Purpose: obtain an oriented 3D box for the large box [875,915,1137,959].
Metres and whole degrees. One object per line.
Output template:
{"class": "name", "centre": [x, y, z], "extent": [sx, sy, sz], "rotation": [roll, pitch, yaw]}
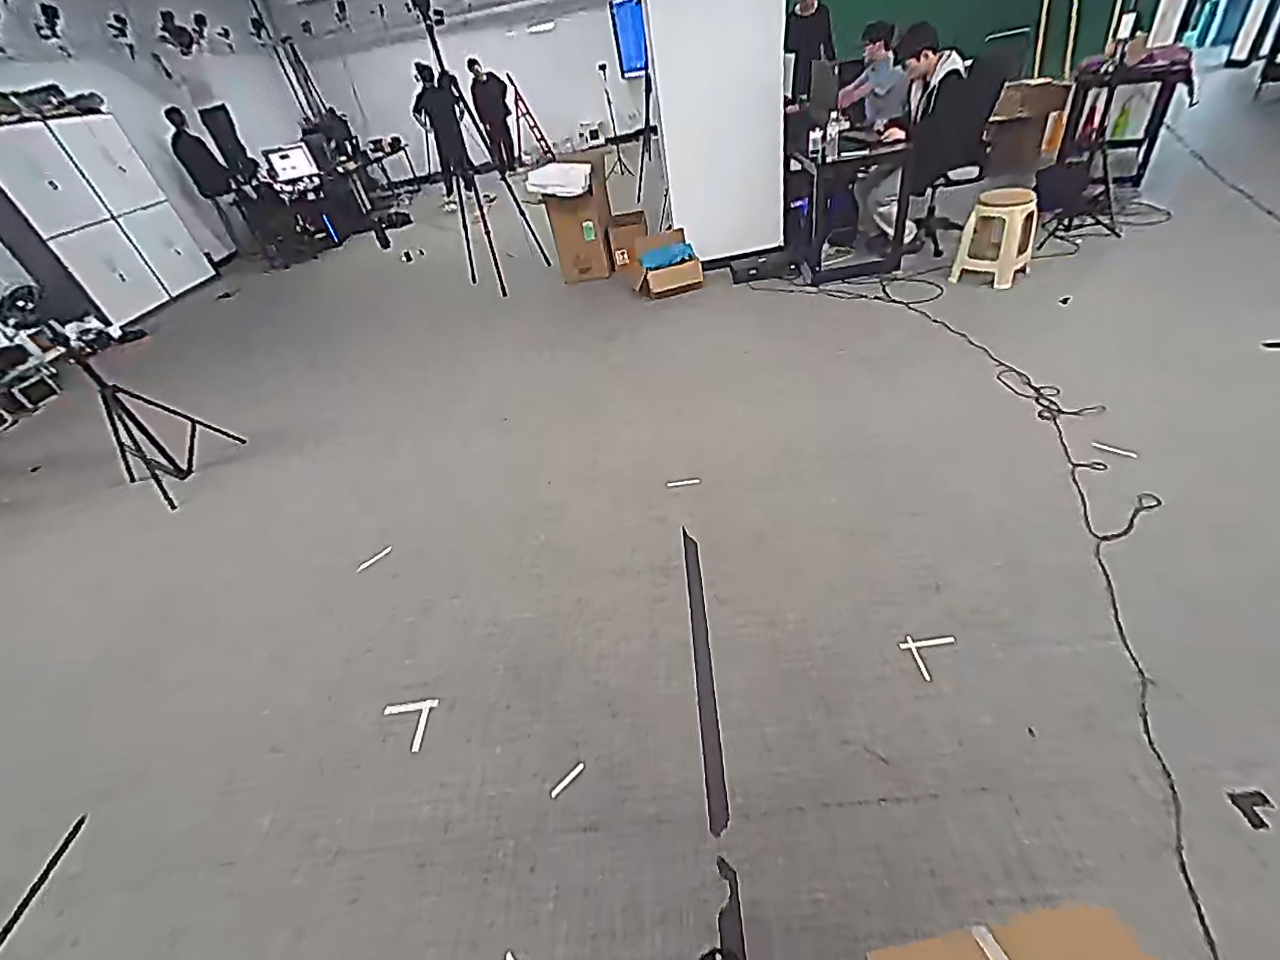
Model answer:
{"class": "large box", "centre": [0.472, 0.745, 0.516], "extent": [0.320, 0.320, 0.408], "rotation": [-18, -5, 4]}
